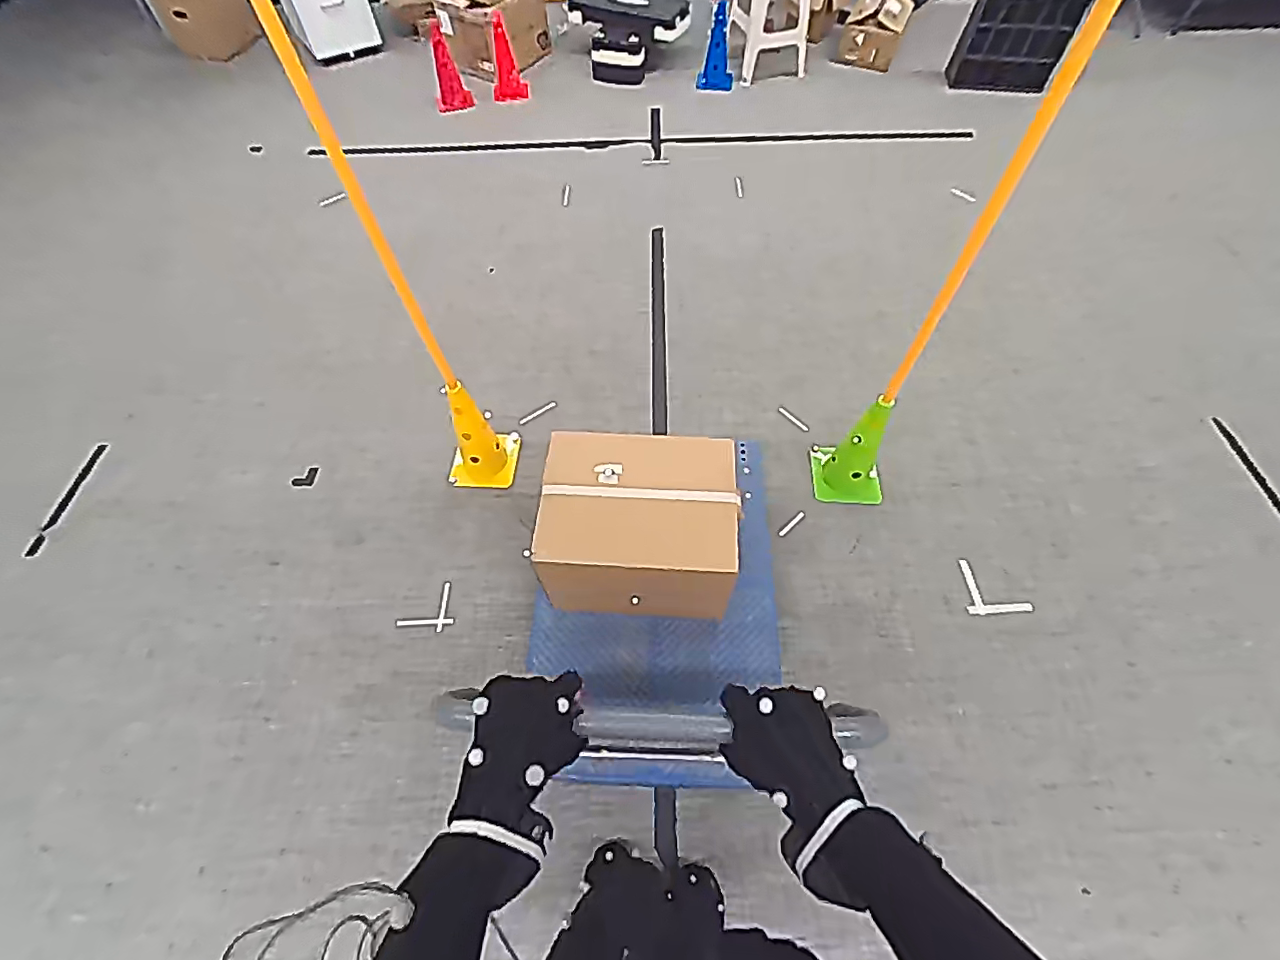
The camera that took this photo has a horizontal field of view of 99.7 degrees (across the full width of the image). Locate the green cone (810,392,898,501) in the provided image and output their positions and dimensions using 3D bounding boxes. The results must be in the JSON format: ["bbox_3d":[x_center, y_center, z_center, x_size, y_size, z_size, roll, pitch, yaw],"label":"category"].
[{"bbox_3d":[0.637,-0.114,1.538,0.202,0.368,0.200,3,59,2],"label":"green cone"}]

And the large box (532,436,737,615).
[{"bbox_3d":[0.002,0.114,1.244,0.408,0.320,0.320,2,59,4],"label":"large box"}]
